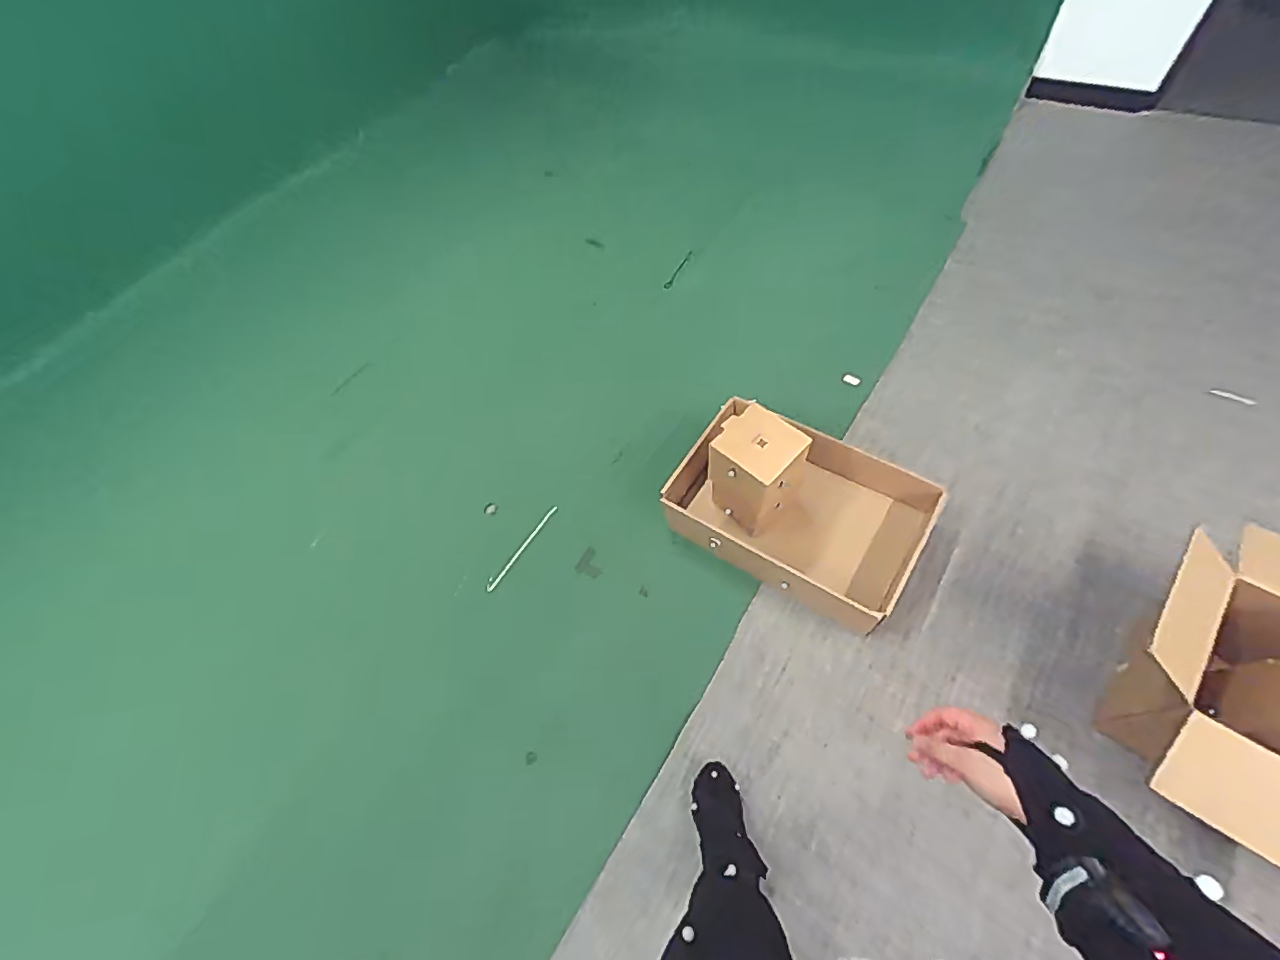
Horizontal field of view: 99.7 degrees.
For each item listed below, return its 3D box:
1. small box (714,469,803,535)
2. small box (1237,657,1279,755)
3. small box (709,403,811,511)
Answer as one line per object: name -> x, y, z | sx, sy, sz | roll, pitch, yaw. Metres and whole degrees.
small box -> 0.313, 0.017, 1.472 | 0.179, 0.176, 0.168 | -39, 63, -15
small box -> 1.230, 0.423, 0.948 | 0.168, 0.176, 0.179 | 38, 72, 22
small box -> 0.287, -0.047, 1.323 | 0.179, 0.176, 0.168 | 39, 71, 25
